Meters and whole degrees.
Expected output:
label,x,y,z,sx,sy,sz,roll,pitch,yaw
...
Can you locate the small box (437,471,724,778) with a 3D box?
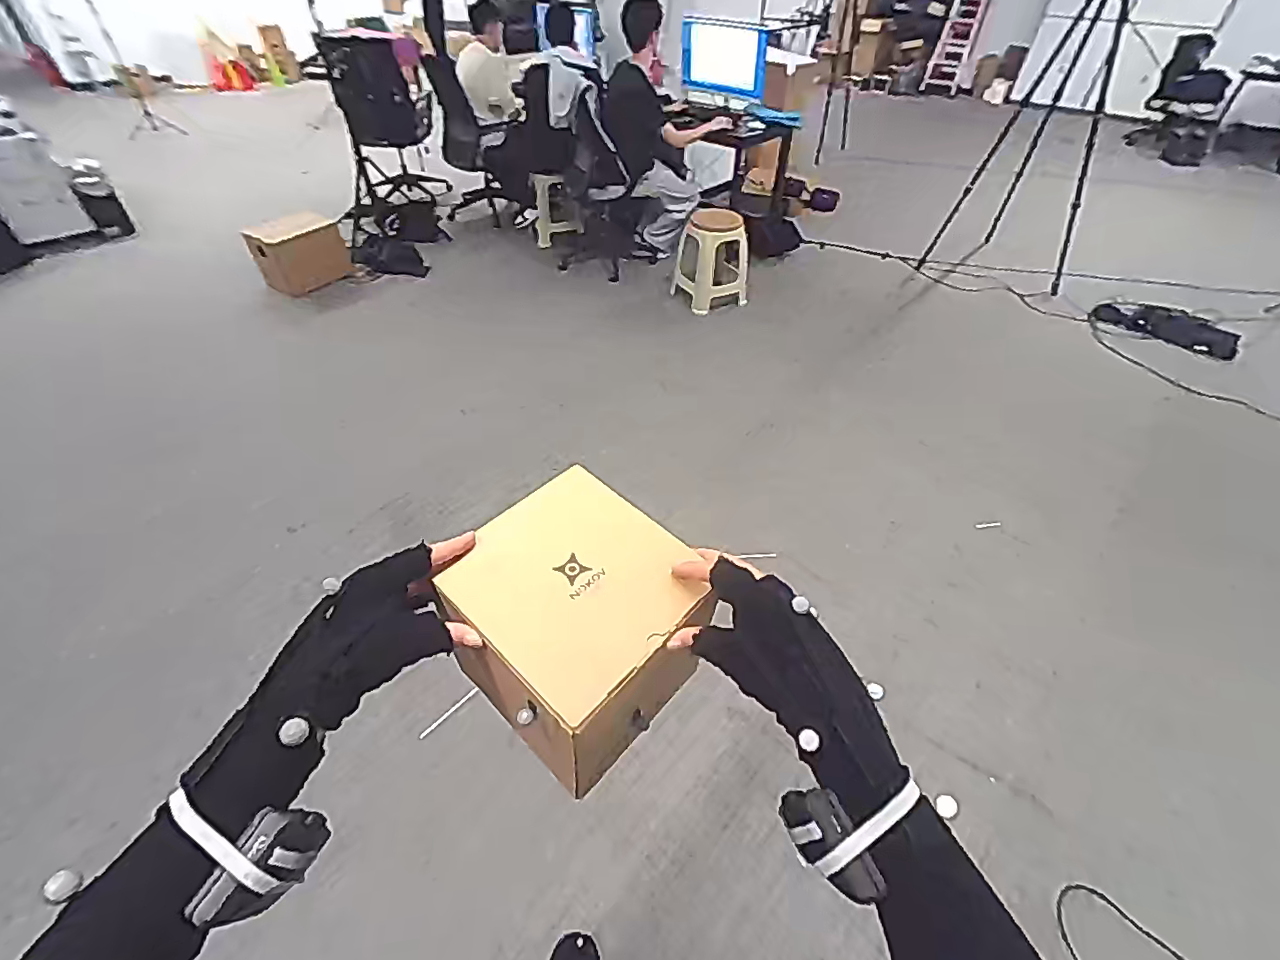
label,x,y,z,sx,sy,sz,roll,pitch,yaw
small box,-0.054,0.130,0.493,0.179,0.176,0.168,37,53,25
